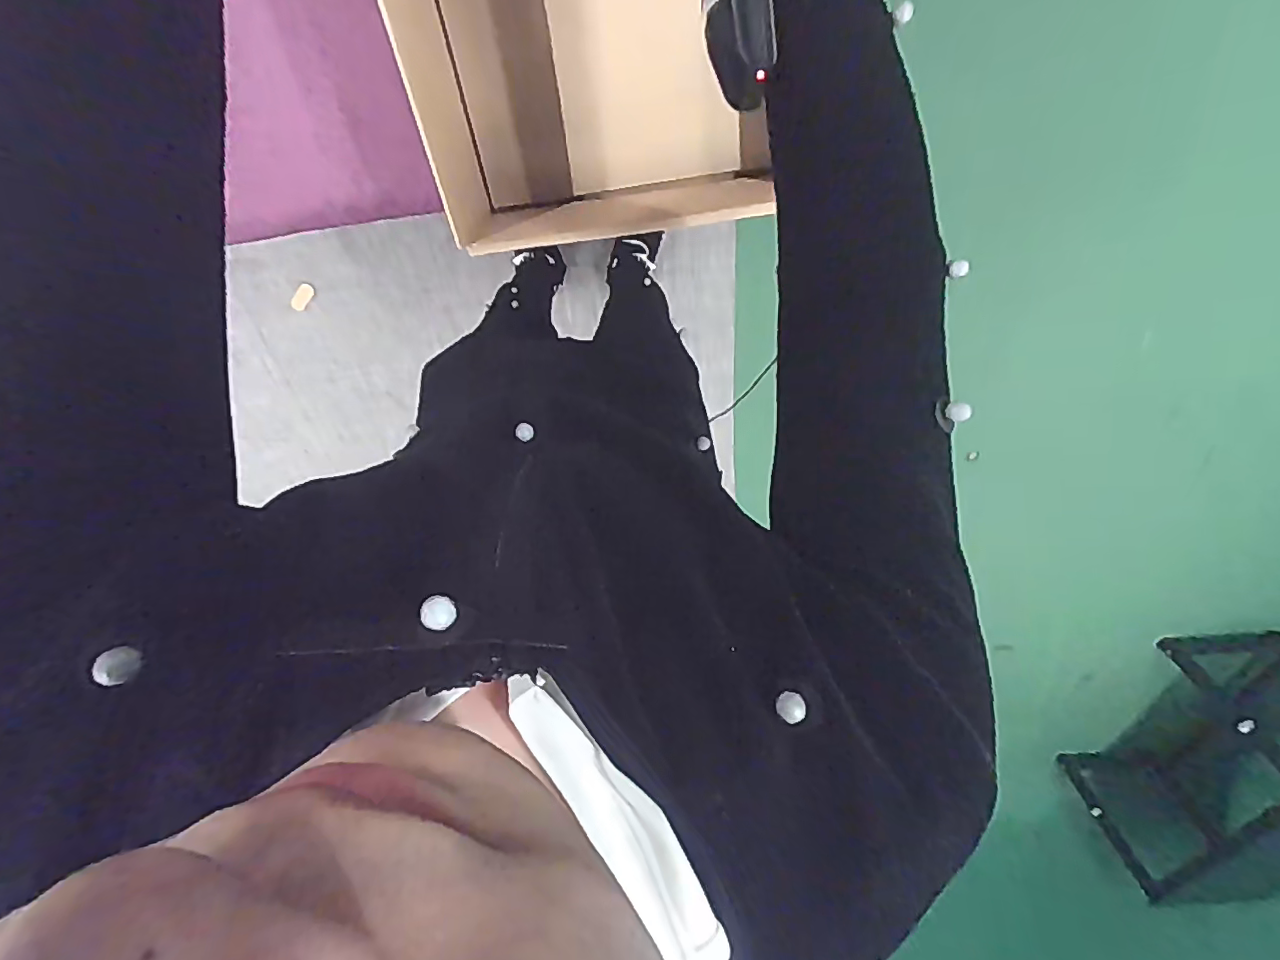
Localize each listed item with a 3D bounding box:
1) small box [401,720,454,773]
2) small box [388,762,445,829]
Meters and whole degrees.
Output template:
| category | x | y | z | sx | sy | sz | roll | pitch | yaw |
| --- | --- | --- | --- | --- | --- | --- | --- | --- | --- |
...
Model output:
| category | x | y | z | sx | sy | sz | roll | pitch | yaw |
| --- | --- | --- | --- | --- | --- | --- | --- | --- | --- |
| small box | -0.852 | 1.096 | 2.174 | 0.168 | 0.176 | 0.179 | 10 | 124 | -11 |
| small box | -0.840 | 1.187 | 2.040 | 0.168 | 0.176 | 0.179 | 9 | 125 | -9 |
